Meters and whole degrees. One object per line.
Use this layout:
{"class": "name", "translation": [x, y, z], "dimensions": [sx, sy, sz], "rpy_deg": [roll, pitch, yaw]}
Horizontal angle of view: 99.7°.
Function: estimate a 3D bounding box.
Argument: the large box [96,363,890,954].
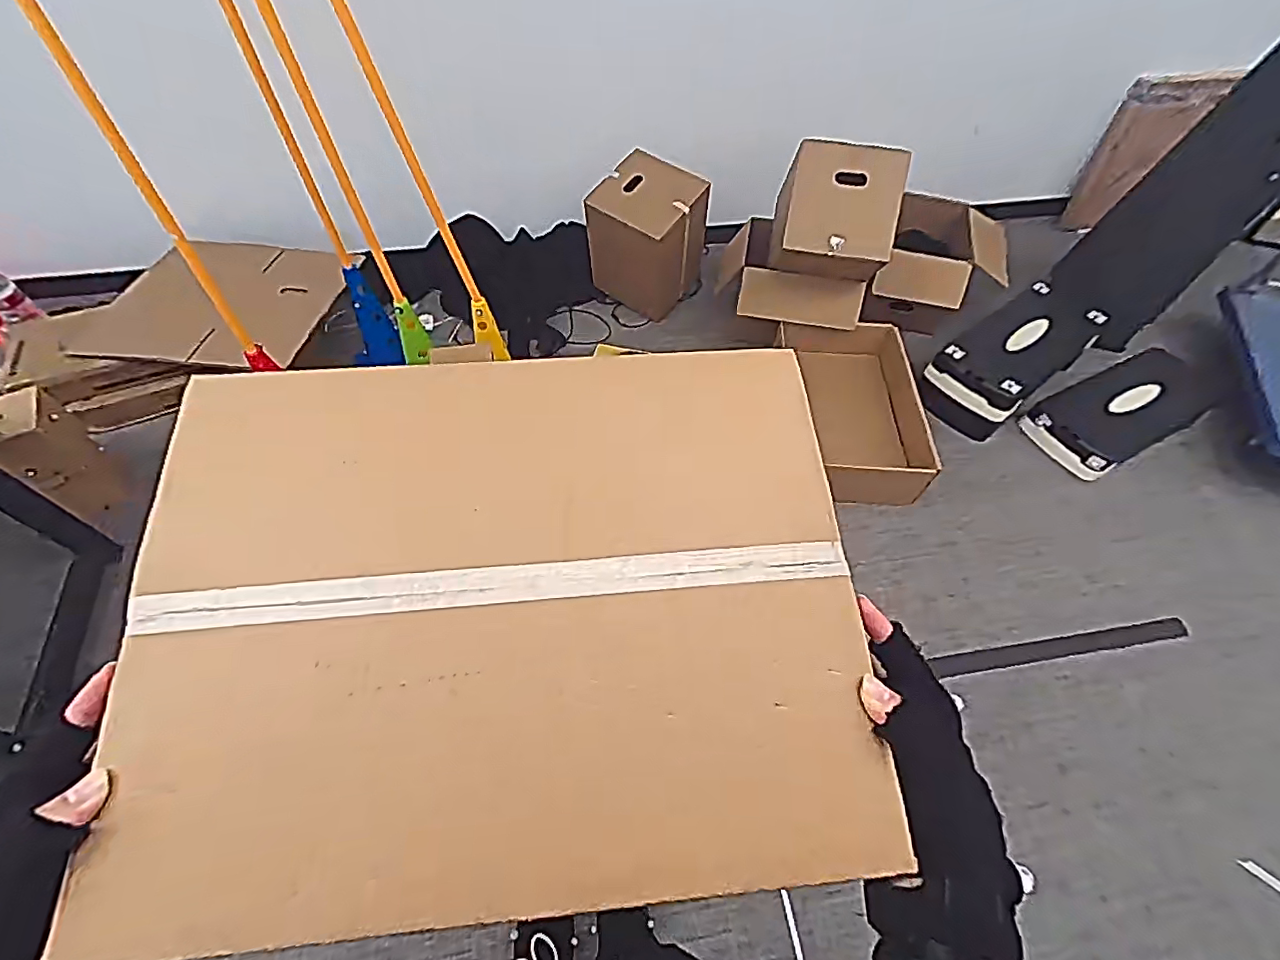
{"class": "large box", "translation": [-0.084, 0.126, 0.464], "dimensions": [0.408, 0.320, 0.320], "rpy_deg": [-4, 68, -4]}
